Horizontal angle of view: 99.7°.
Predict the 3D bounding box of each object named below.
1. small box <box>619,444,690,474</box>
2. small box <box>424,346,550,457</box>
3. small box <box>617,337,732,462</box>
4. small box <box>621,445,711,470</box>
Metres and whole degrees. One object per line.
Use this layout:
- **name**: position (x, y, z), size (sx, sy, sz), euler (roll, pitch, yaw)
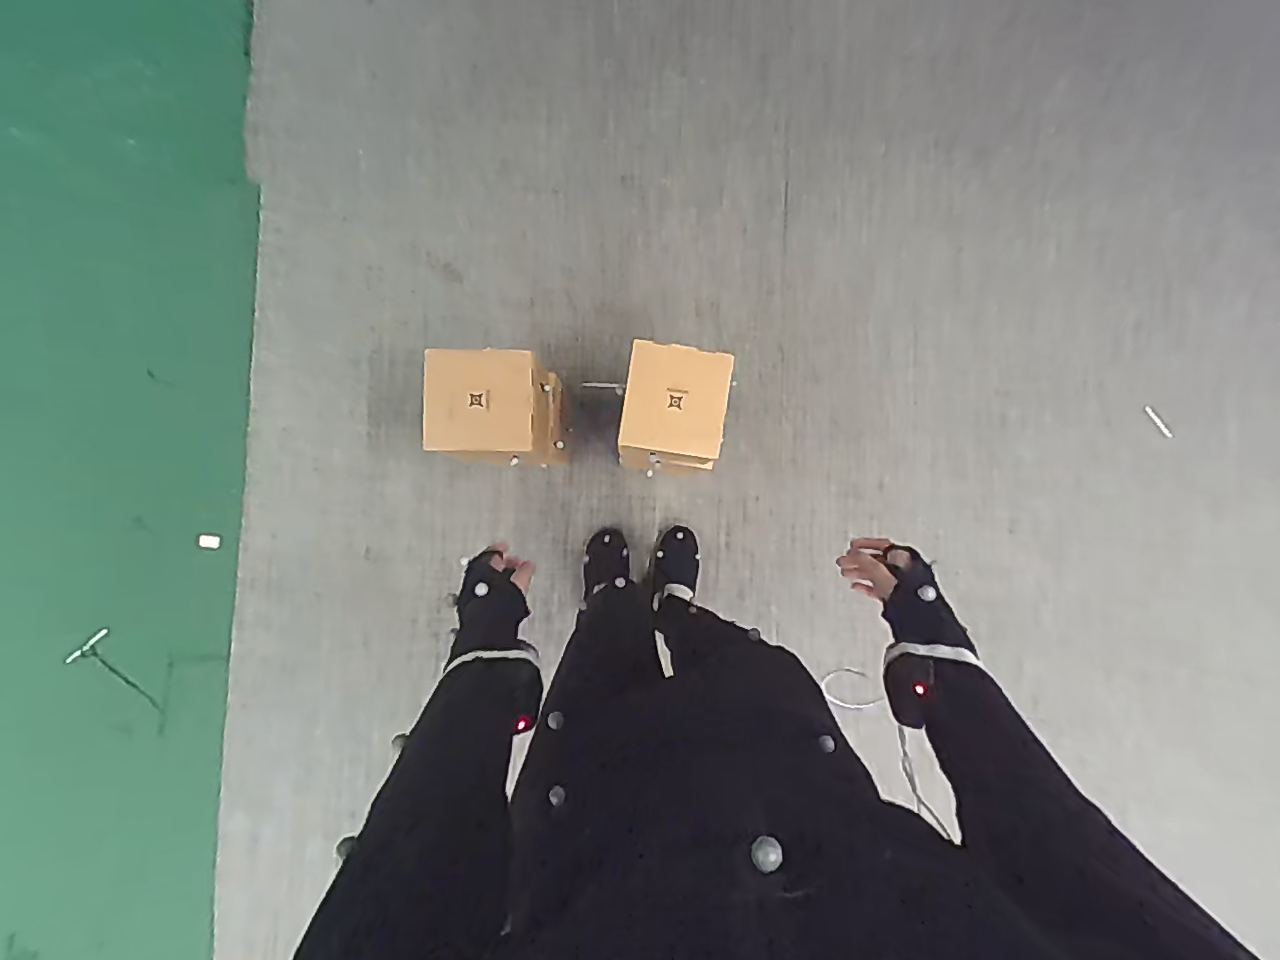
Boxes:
- **small box**: position (0.047, -0.116, 1.275), size (0.168, 0.176, 0.179), euler (11, 89, 0)
- **small box**: position (-0.255, -0.129, 0.941), size (0.179, 0.176, 0.168), euler (1, 88, 1)
- **small box**: position (0.056, -0.131, 0.949), size (0.168, 0.176, 0.179), euler (9, 87, 0)
- **small box**: position (0.065, -0.117, 1.112), size (0.179, 0.176, 0.168), euler (11, 88, 1)
